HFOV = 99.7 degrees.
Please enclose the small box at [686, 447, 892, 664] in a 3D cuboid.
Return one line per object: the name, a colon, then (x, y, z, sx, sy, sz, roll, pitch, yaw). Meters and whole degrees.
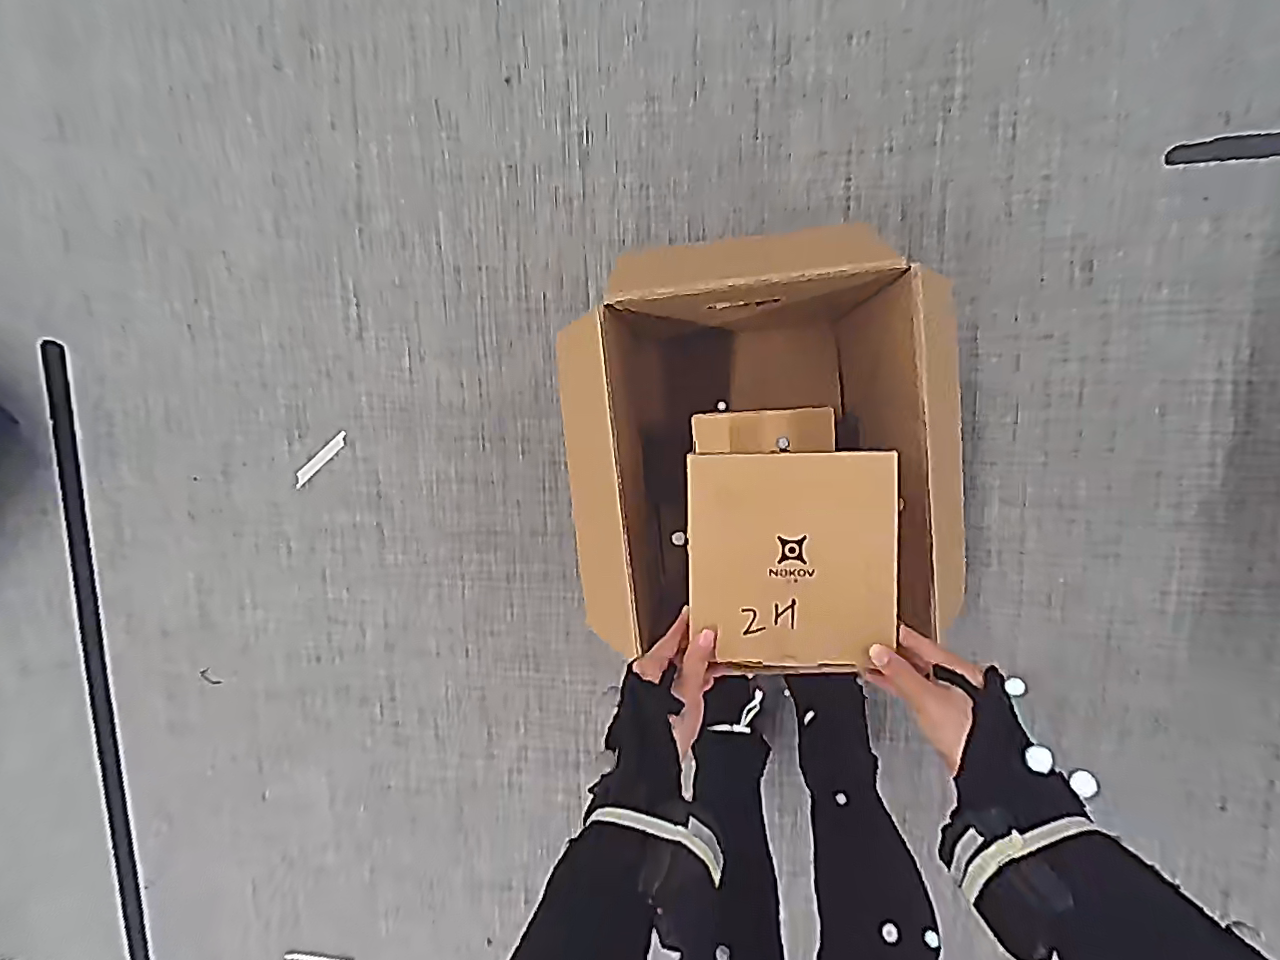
small box: (0.128, 0.059, 0.521, 0.168, 0.176, 0.179, 0, 92, 7)
